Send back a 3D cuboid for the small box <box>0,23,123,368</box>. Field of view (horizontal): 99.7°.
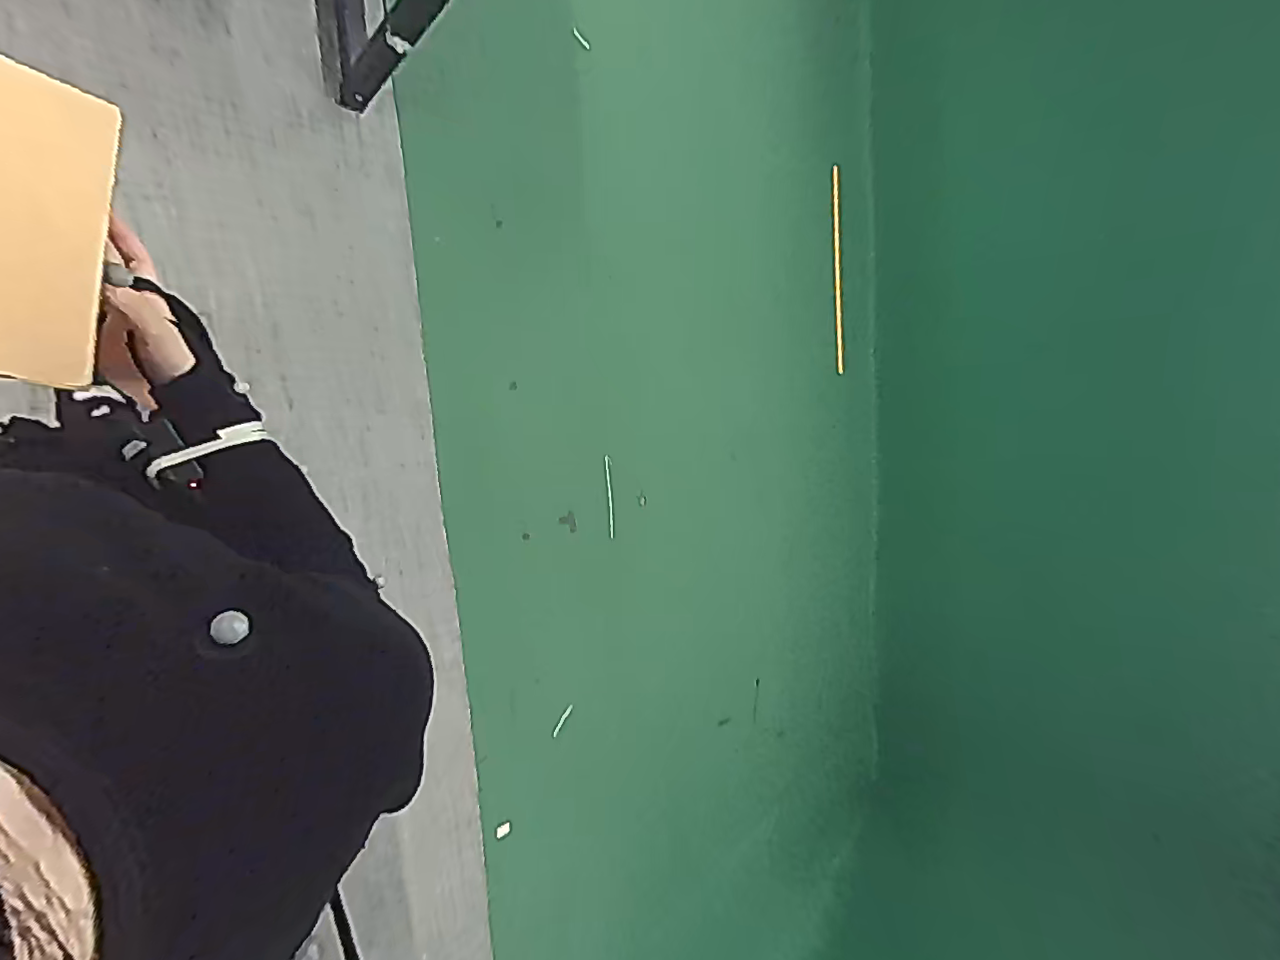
[{"bbox_3d":[-0.438,-0.174,0.312,0.168,0.176,0.179,6,97,-53],"label":"small box"}]
